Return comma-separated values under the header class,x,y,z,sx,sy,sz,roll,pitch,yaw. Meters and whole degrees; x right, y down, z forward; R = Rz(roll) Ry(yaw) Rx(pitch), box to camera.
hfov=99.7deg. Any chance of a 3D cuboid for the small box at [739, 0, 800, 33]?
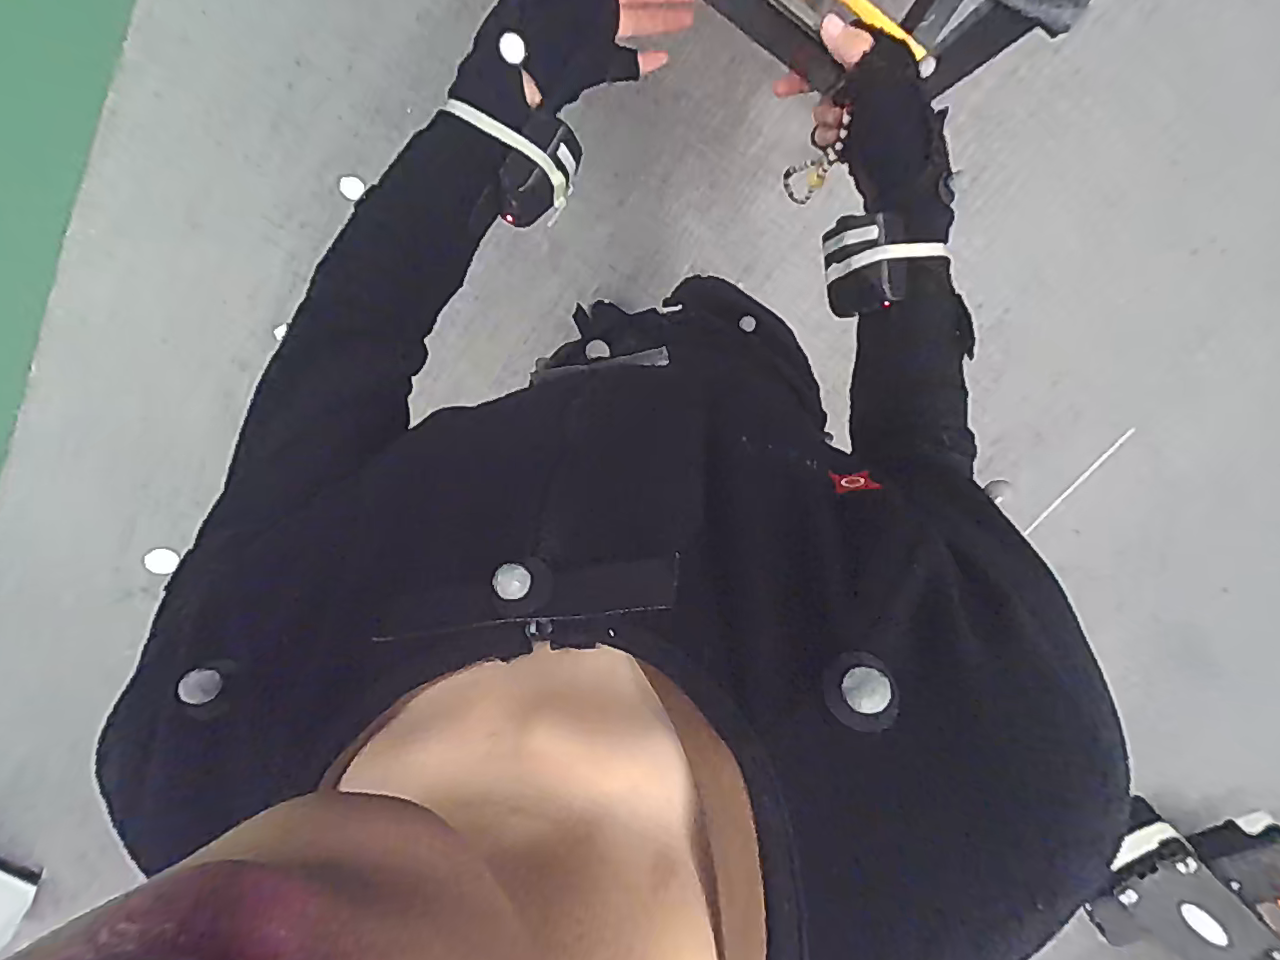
class,x,y,z,sx,sy,sz,roll,pitch,yaw
small box,0.247,-0.957,0.958,0.168,0.176,0.179,36,107,-10
